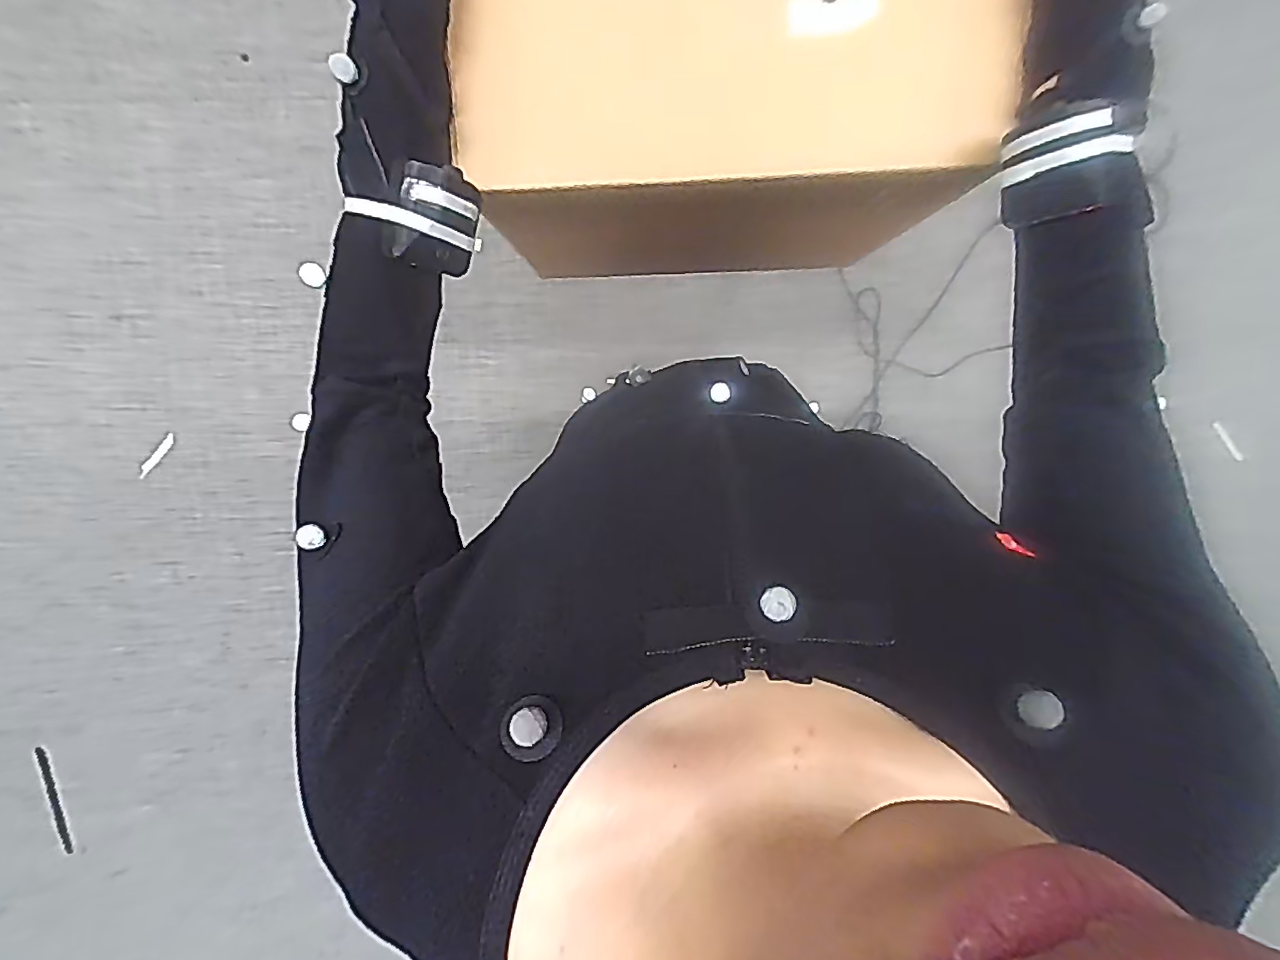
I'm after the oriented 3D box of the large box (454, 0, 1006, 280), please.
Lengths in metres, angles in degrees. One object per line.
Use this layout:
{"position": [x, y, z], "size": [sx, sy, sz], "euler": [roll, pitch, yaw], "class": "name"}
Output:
{"position": [0.061, -0.399, 0.531], "size": [0.408, 0.320, 0.320], "euler": [-2, 99, 1], "class": "large box"}
